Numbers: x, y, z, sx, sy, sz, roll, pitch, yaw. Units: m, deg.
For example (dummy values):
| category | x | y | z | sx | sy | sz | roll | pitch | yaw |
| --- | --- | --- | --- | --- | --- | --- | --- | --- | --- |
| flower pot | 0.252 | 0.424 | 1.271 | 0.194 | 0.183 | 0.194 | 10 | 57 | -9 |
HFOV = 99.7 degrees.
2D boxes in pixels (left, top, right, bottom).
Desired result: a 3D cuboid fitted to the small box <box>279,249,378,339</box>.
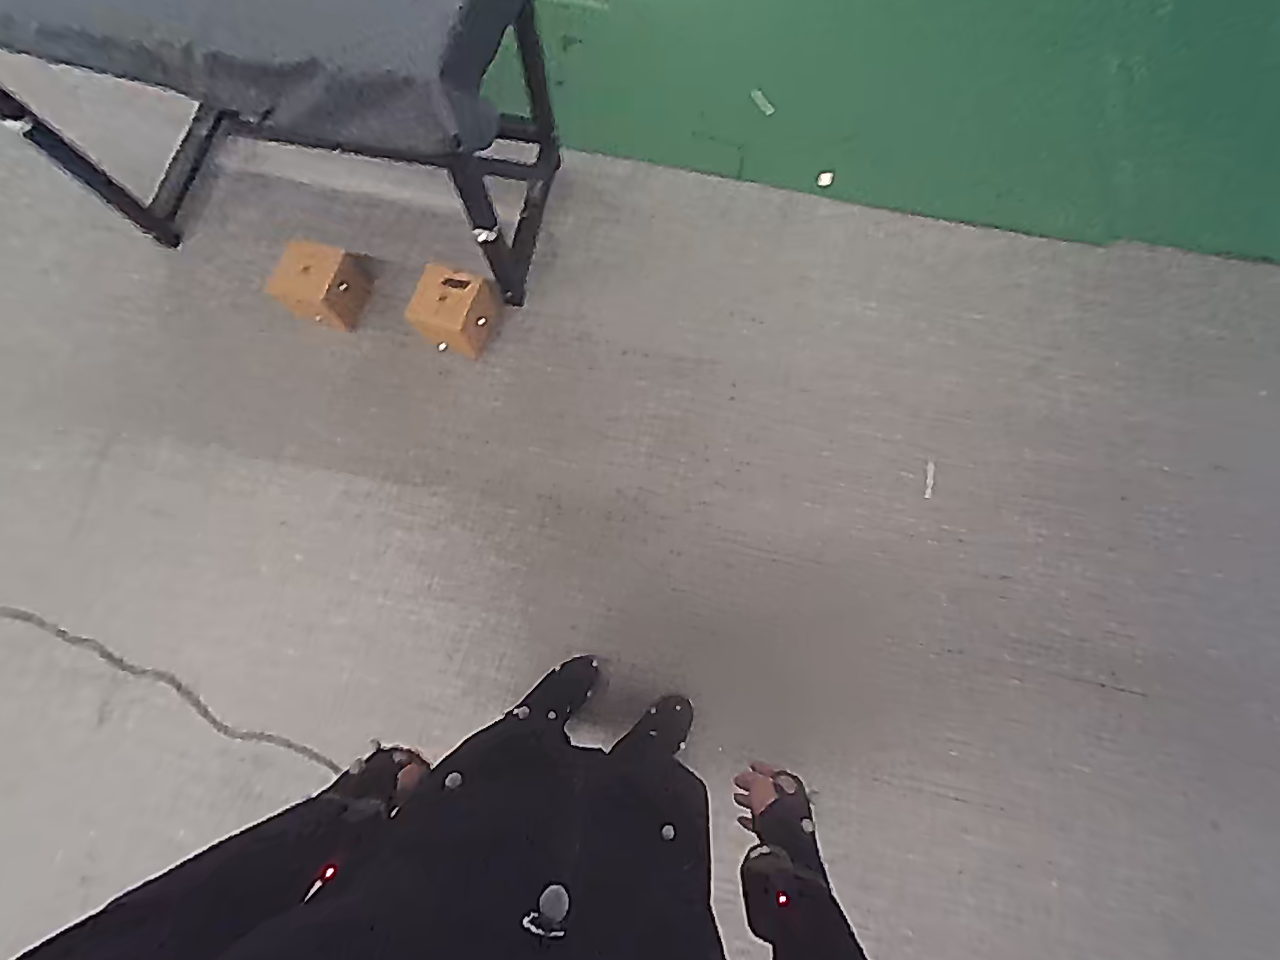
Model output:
| category | x | y | z | sx | sy | sz | roll | pitch | yaw |
| --- | --- | --- | --- | --- | --- | --- | --- | --- | --- |
| small box | -0.913 | -0.546 | 1.607 | 0.168 | 0.176 | 0.179 | 14 | 74 | 4 |

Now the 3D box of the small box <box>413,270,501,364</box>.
| category | x | y | z | sx | sy | sz | roll | pitch | yaw |
| --- | --- | --- | --- | --- | --- | --- | --- | --- | --- |
| small box | -0.520 | -0.468 | 1.572 | 0.168 | 0.176 | 0.179 | 17 | 77 | 6 |
